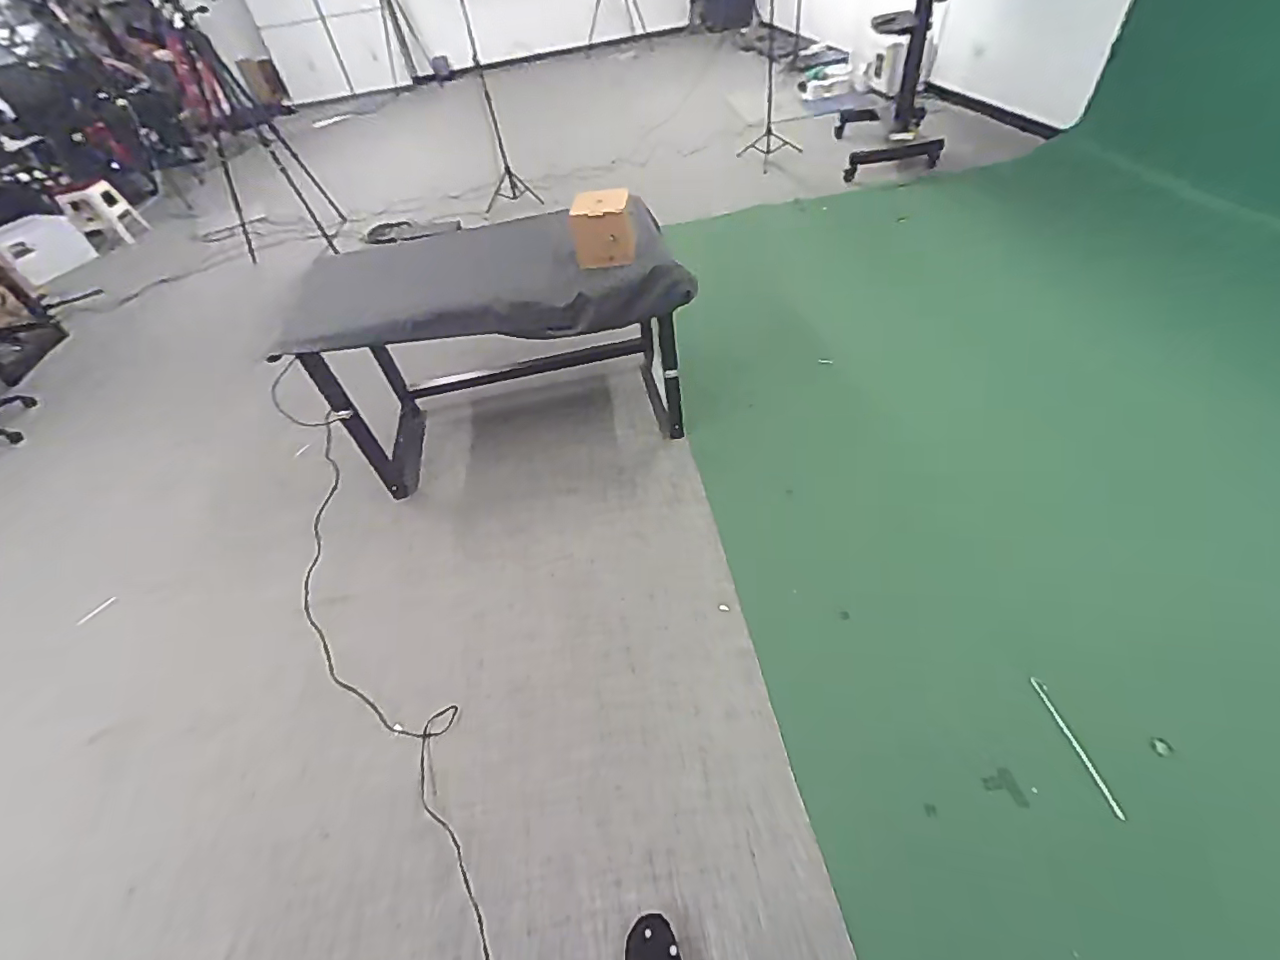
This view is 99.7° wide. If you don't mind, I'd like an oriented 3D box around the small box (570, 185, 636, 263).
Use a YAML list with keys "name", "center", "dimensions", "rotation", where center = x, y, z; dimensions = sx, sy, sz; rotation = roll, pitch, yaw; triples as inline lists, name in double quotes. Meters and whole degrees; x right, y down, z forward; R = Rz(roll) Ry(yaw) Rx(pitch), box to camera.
- name: "small box"
  center: [-0.106, -0.781, 1.662]
  dimensions: [0.168, 0.176, 0.179]
  rotation: [-1, 45, 8]
